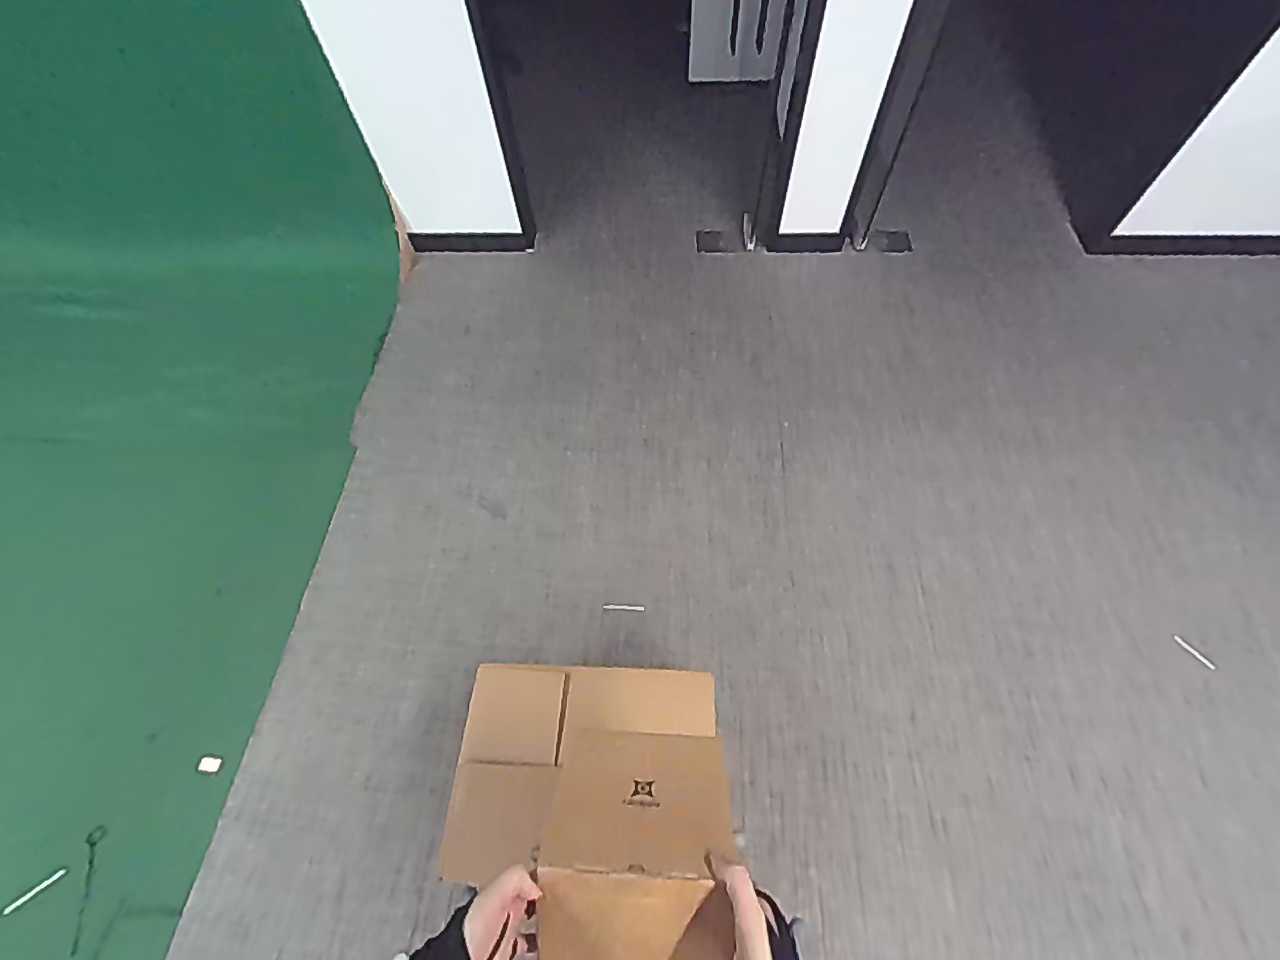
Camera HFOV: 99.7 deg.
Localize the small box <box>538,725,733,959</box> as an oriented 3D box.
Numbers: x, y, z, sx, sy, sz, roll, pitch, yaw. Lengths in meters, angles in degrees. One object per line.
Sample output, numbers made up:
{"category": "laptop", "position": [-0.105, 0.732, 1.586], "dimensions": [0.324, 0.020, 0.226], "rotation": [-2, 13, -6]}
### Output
{"category": "small box", "position": [-0.002, 0.378, 0.538], "dimensions": [0.168, 0.179, 0.176], "rotation": [2, 104, 4]}
